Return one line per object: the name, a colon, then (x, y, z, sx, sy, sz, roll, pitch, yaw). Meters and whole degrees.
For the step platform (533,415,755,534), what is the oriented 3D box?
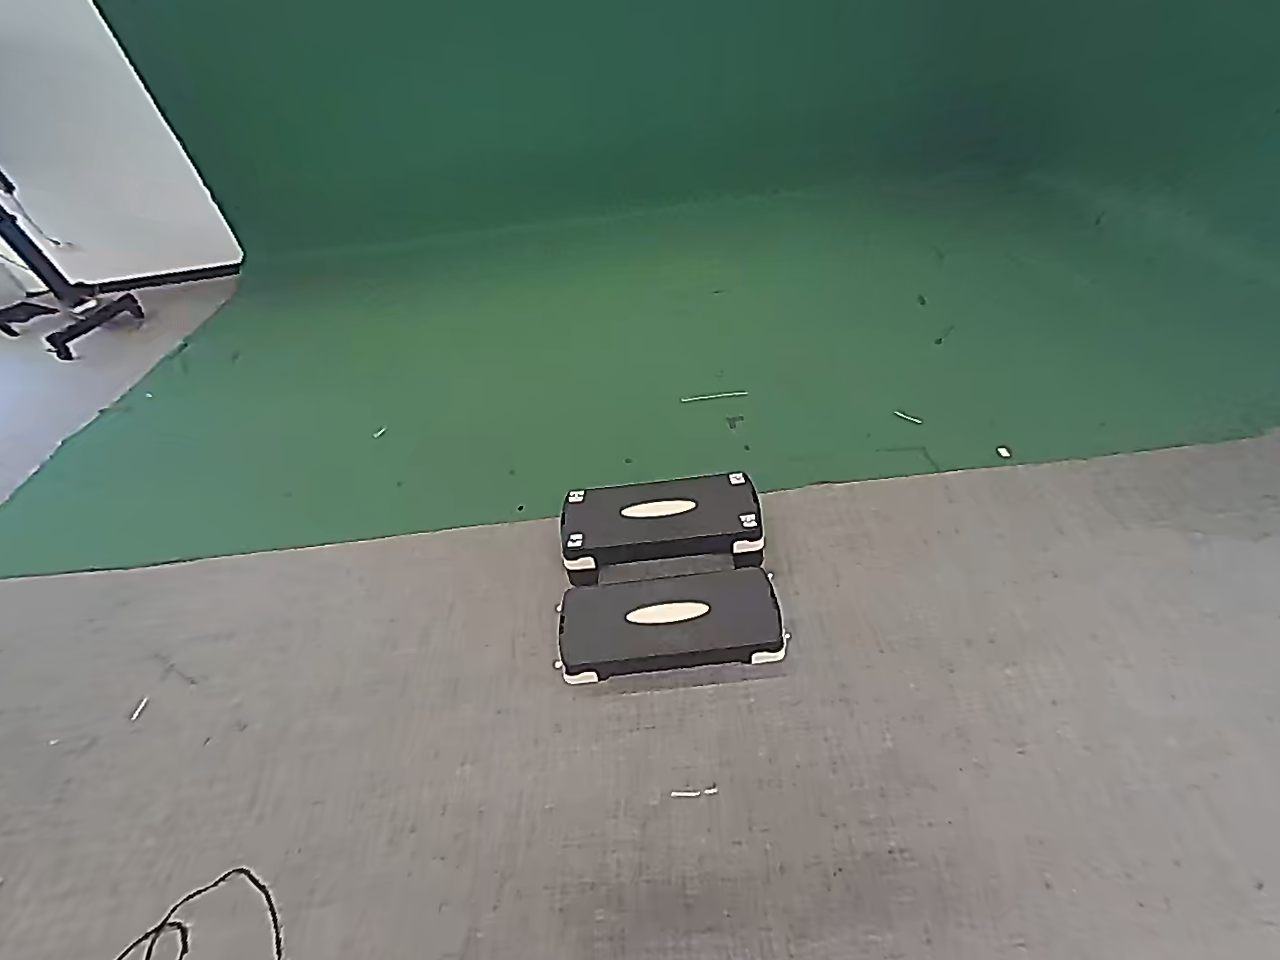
step platform: (0.015, -0.017, 1.736, 0.684, 0.204, 0.286, -7, 45, 2)
